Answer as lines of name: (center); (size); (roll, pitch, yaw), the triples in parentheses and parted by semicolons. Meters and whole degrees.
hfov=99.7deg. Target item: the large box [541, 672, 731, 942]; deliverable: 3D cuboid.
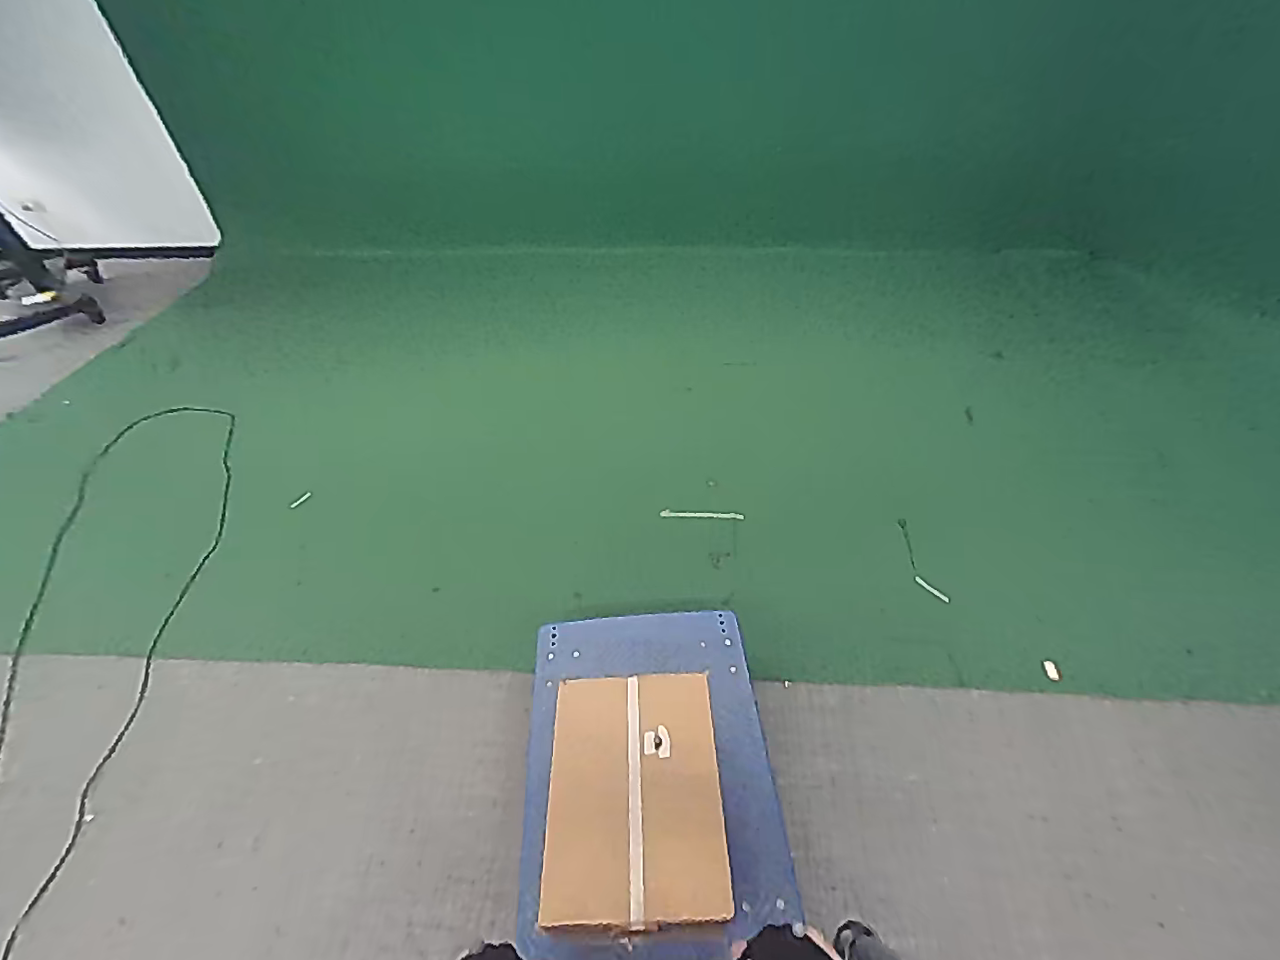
large box: (-0.006, 0.660, 1.103); (0.320, 0.320, 0.408); (-2, 44, 0)
